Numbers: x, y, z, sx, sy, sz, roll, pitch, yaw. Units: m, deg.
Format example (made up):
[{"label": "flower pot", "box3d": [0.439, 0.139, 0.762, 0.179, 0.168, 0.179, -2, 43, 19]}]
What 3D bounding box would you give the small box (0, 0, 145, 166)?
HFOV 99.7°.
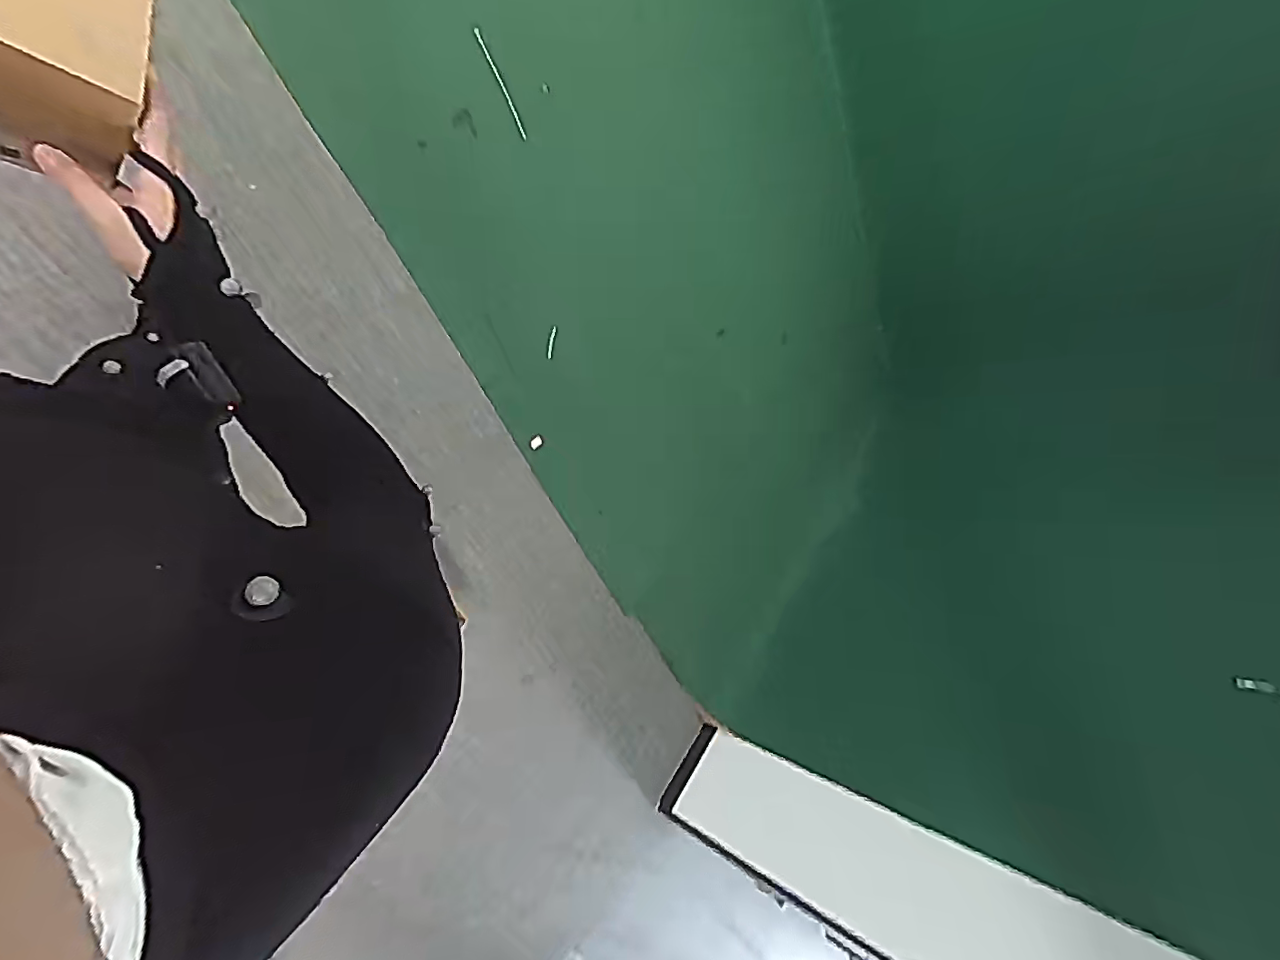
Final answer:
[{"label": "small box", "box3d": [-0.484, -0.378, 0.392, 0.168, 0.176, 0.179, 4, 83, -51]}]
